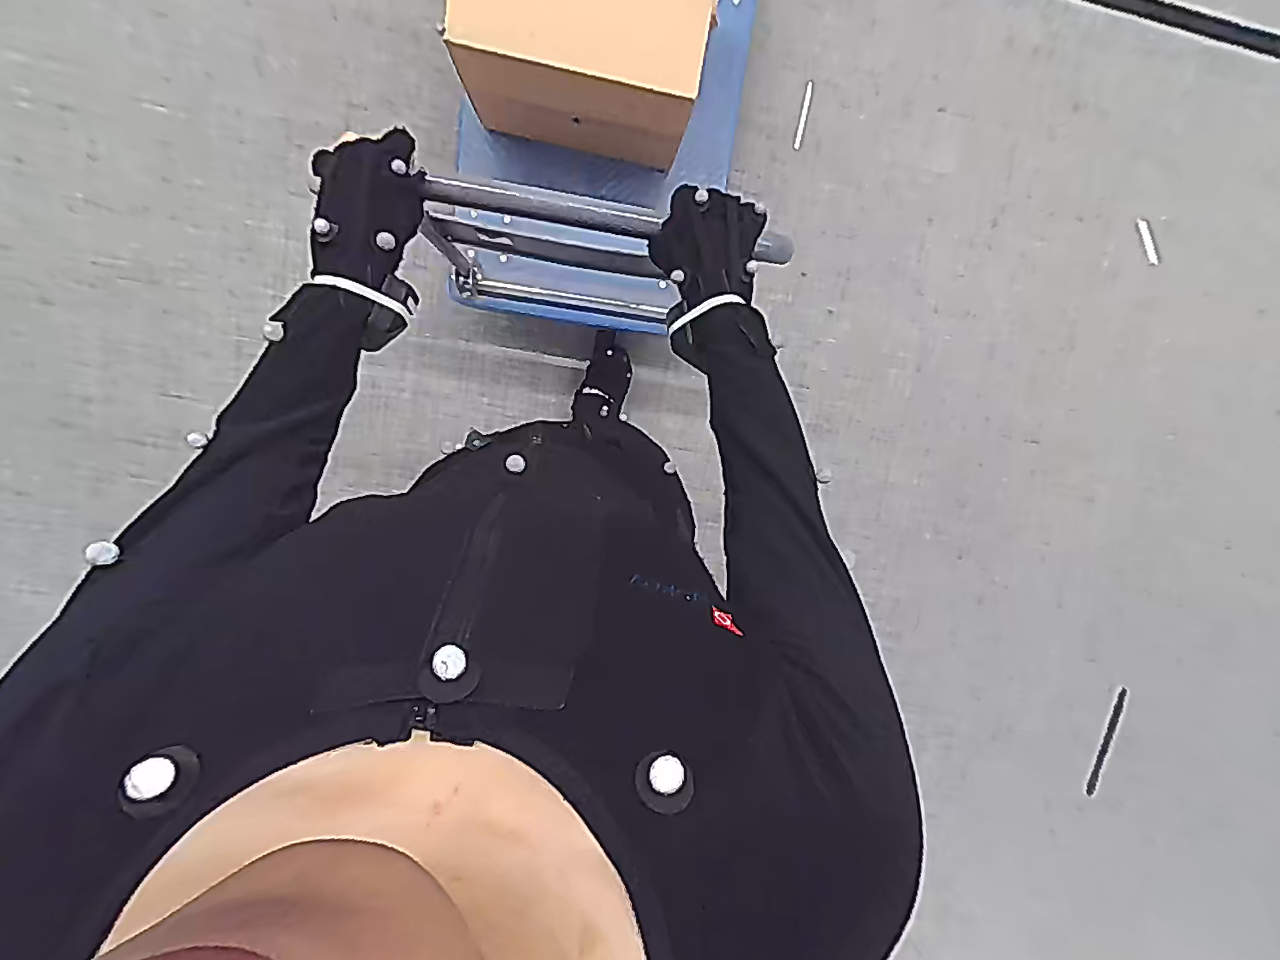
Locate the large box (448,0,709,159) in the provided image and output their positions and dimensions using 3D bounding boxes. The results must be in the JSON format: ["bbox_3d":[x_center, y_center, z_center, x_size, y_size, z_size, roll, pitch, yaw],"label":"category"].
[{"bbox_3d":[-0.091,-0.834,0.983,0.408,0.320,0.320,9,100,-5],"label":"large box"}]
